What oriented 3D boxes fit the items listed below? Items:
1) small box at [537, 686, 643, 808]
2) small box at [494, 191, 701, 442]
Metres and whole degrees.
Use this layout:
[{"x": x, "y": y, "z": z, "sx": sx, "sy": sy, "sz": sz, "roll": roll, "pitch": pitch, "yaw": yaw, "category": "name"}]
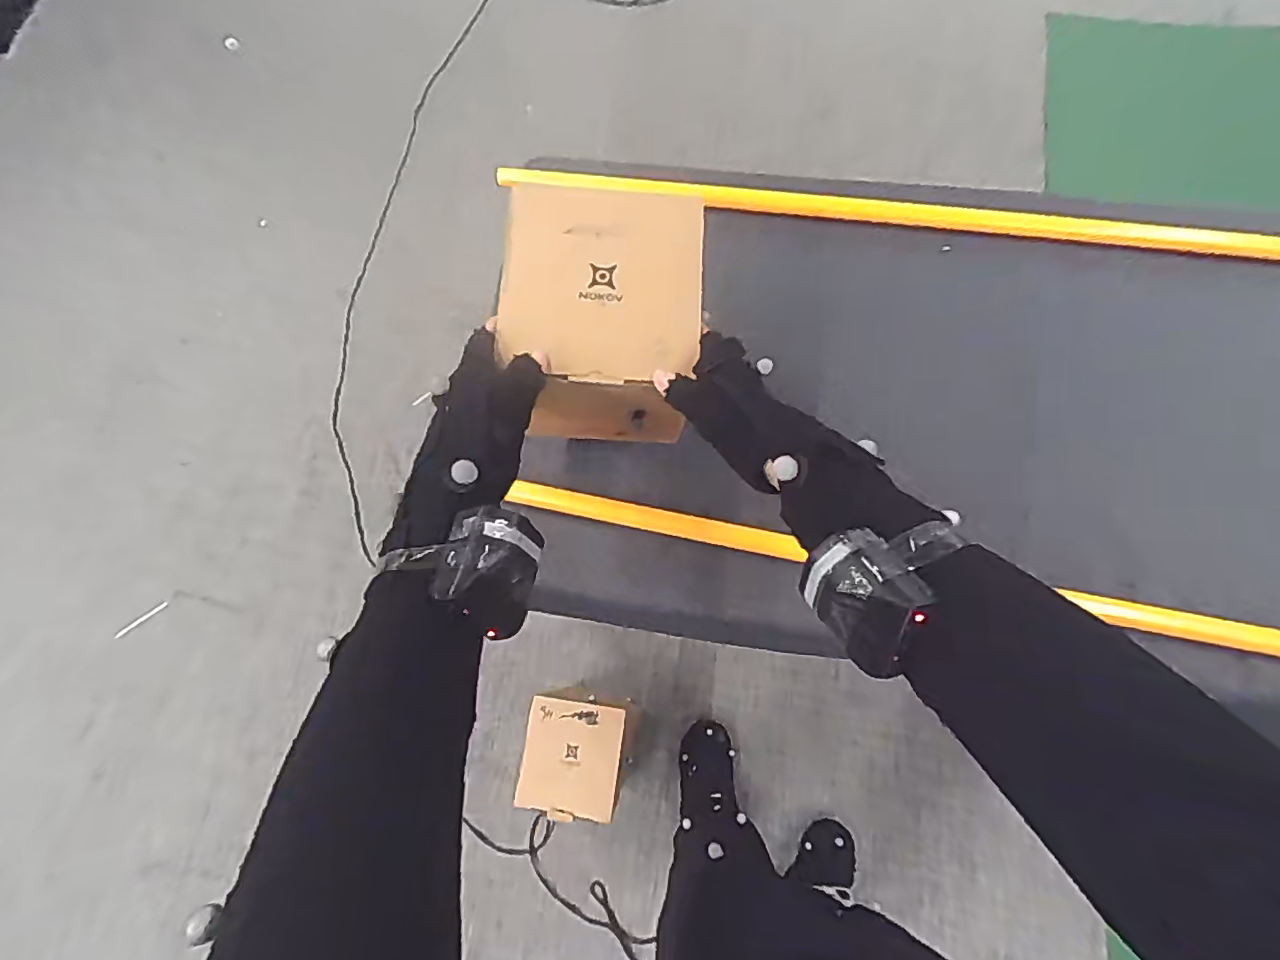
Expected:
[{"x": -0.095, "y": 0.545, "z": 1.134, "sx": 0.168, "sy": 0.176, "sz": 0.179, "roll": 16, "pitch": 74, "yaw": 9, "category": "small box"}, {"x": -0.035, "y": -0.144, "z": 0.529, "sx": 0.168, "sy": 0.176, "sz": 0.179, "roll": 3, "pitch": 76, "yaw": -3, "category": "small box"}]
